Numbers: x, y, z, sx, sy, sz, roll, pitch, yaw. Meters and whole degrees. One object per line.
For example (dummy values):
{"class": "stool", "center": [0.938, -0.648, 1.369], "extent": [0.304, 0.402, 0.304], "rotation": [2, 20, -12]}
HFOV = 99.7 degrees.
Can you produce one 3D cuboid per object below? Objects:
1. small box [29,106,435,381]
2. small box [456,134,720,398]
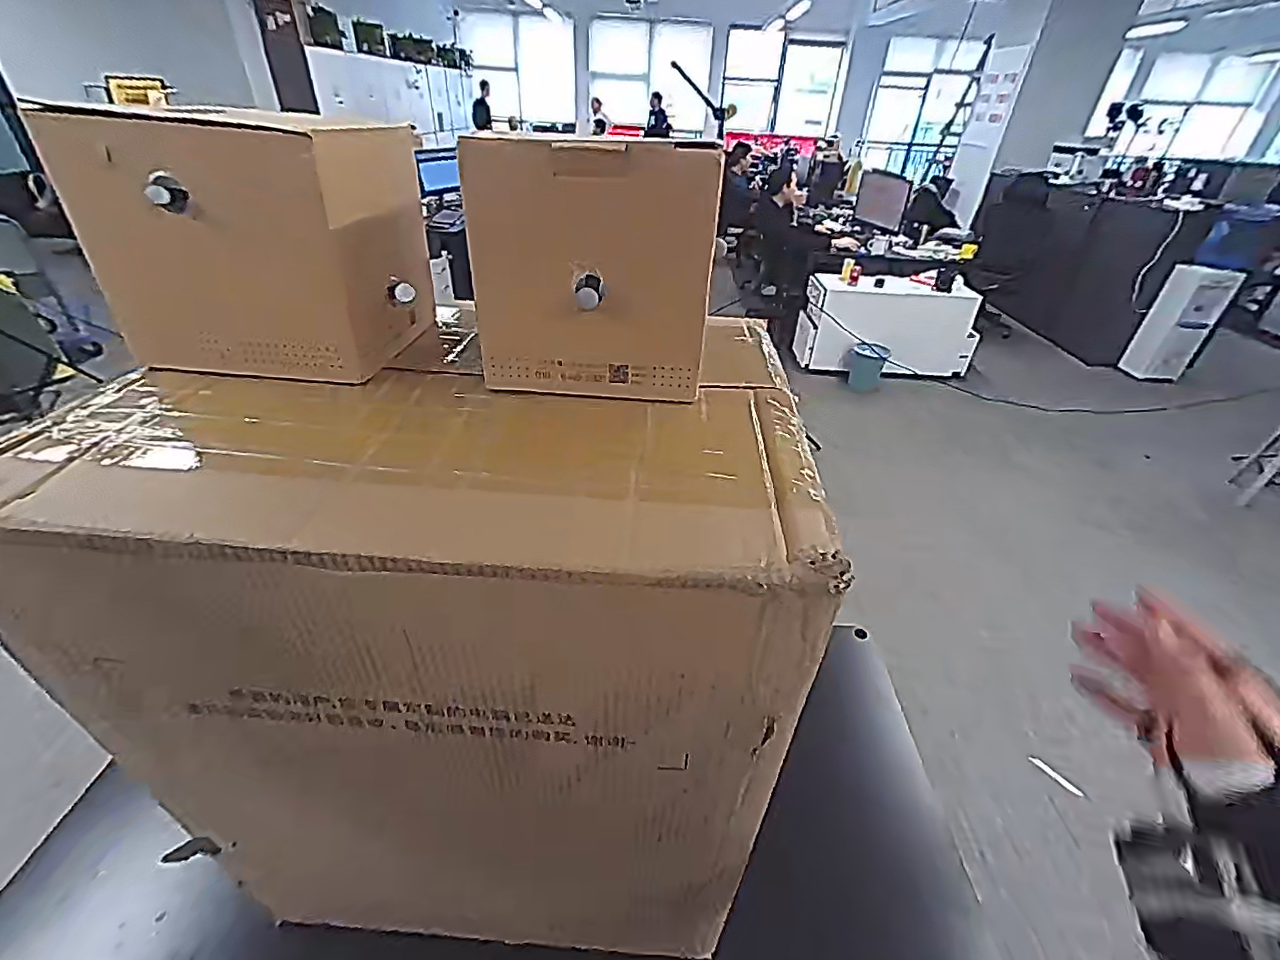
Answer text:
{"class": "small box", "center": [-0.286, -0.189, 0.434], "extent": [0.179, 0.176, 0.168], "rotation": [5, 34, -1]}
{"class": "small box", "center": [-0.028, -0.176, 0.438], "extent": [0.168, 0.176, 0.179], "rotation": [4, 34, 2]}
